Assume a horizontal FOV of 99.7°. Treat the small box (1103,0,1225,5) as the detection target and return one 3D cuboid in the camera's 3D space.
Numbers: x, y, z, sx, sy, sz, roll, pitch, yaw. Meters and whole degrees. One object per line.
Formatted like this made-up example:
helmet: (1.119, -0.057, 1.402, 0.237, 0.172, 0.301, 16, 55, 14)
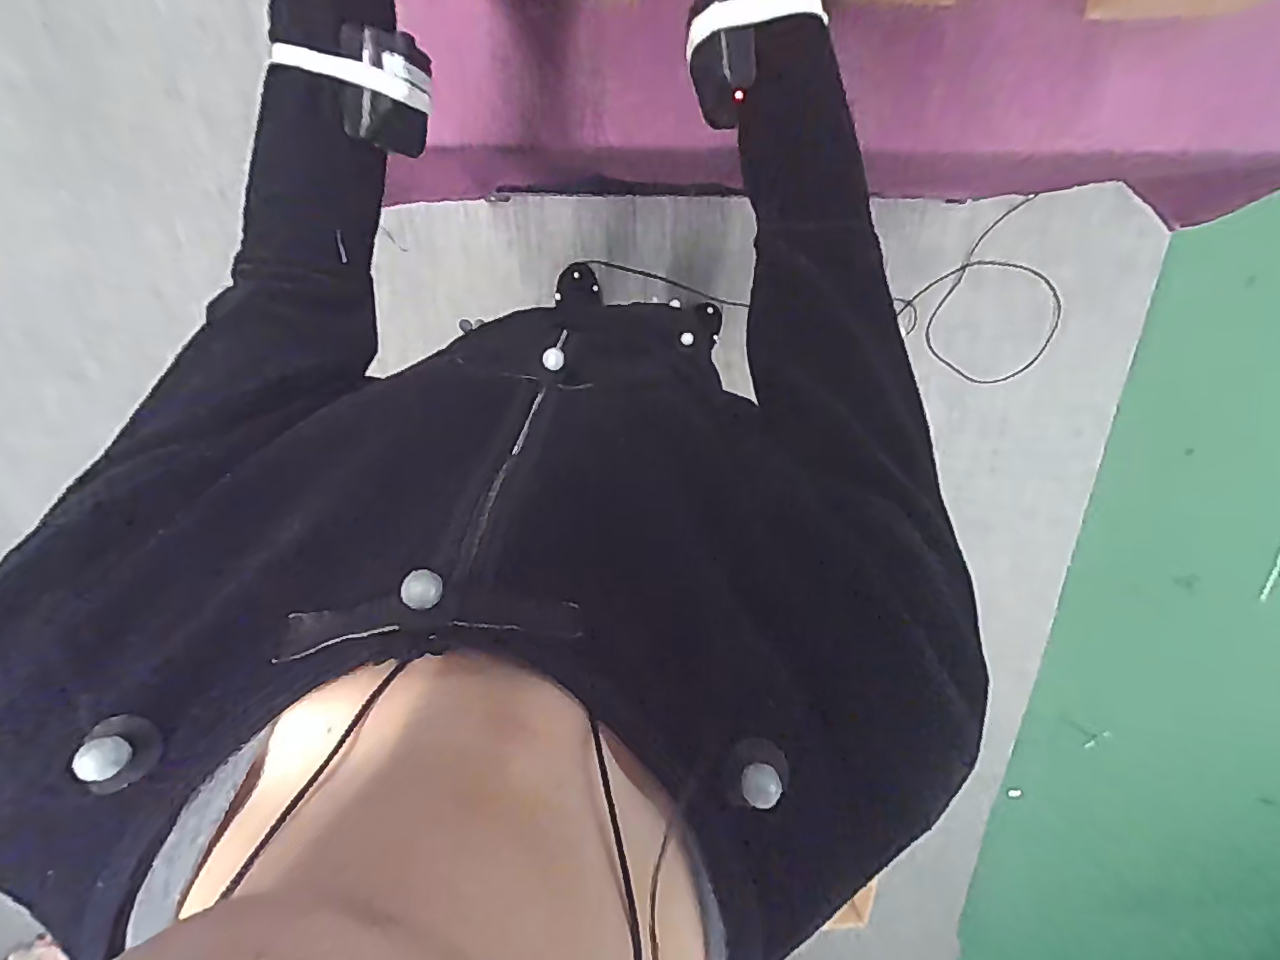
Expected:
small box: (0.587, -0.580, 0.503, 0.179, 0.176, 0.168, -4, 111, -3)
